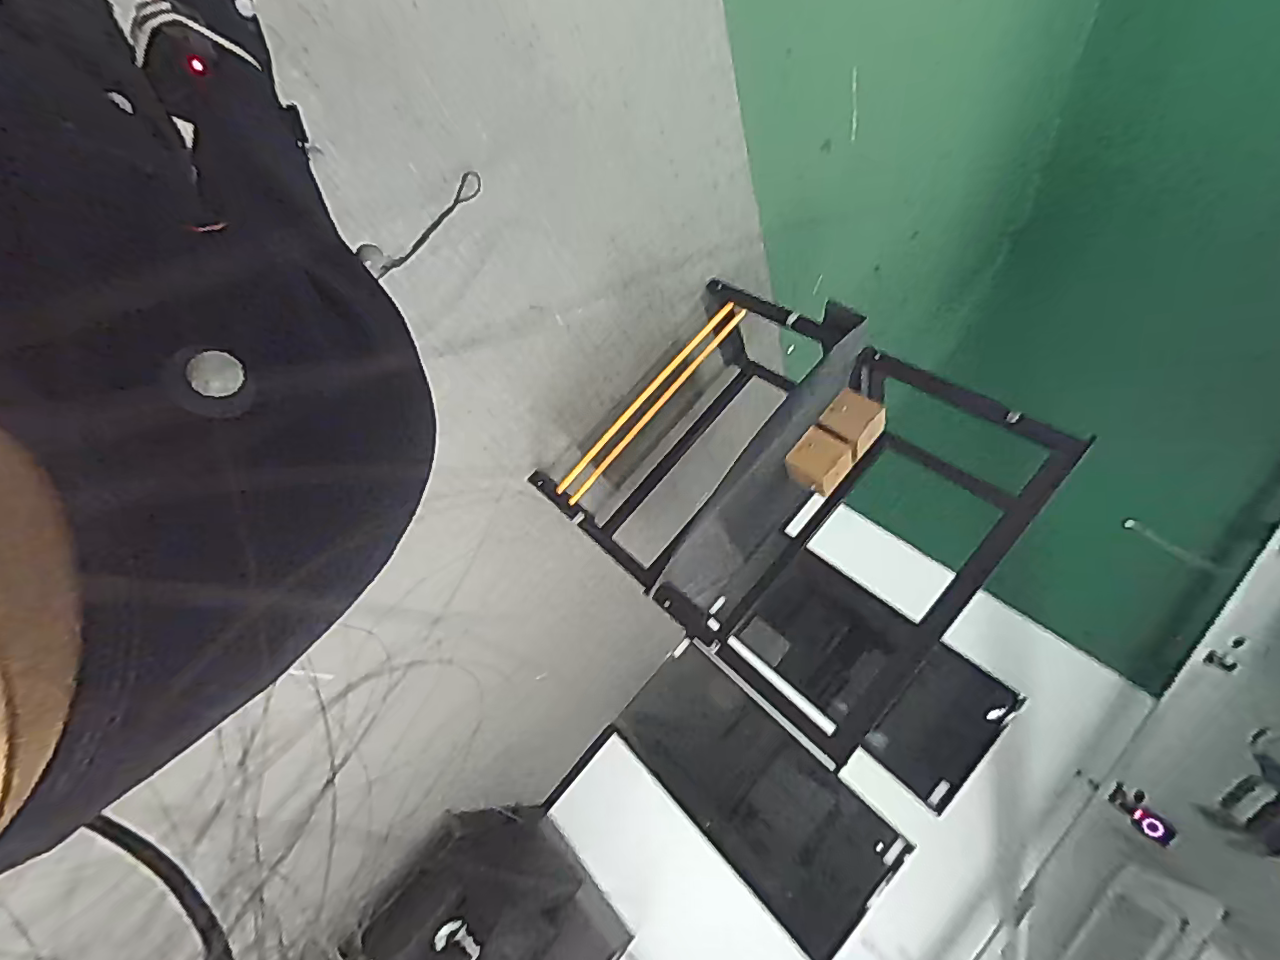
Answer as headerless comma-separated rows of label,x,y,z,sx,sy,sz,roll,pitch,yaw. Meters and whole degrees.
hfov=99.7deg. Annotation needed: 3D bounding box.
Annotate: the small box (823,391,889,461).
small box,0.806,-0.207,2.024,0.168,0.176,0.179,-50,148,-4
